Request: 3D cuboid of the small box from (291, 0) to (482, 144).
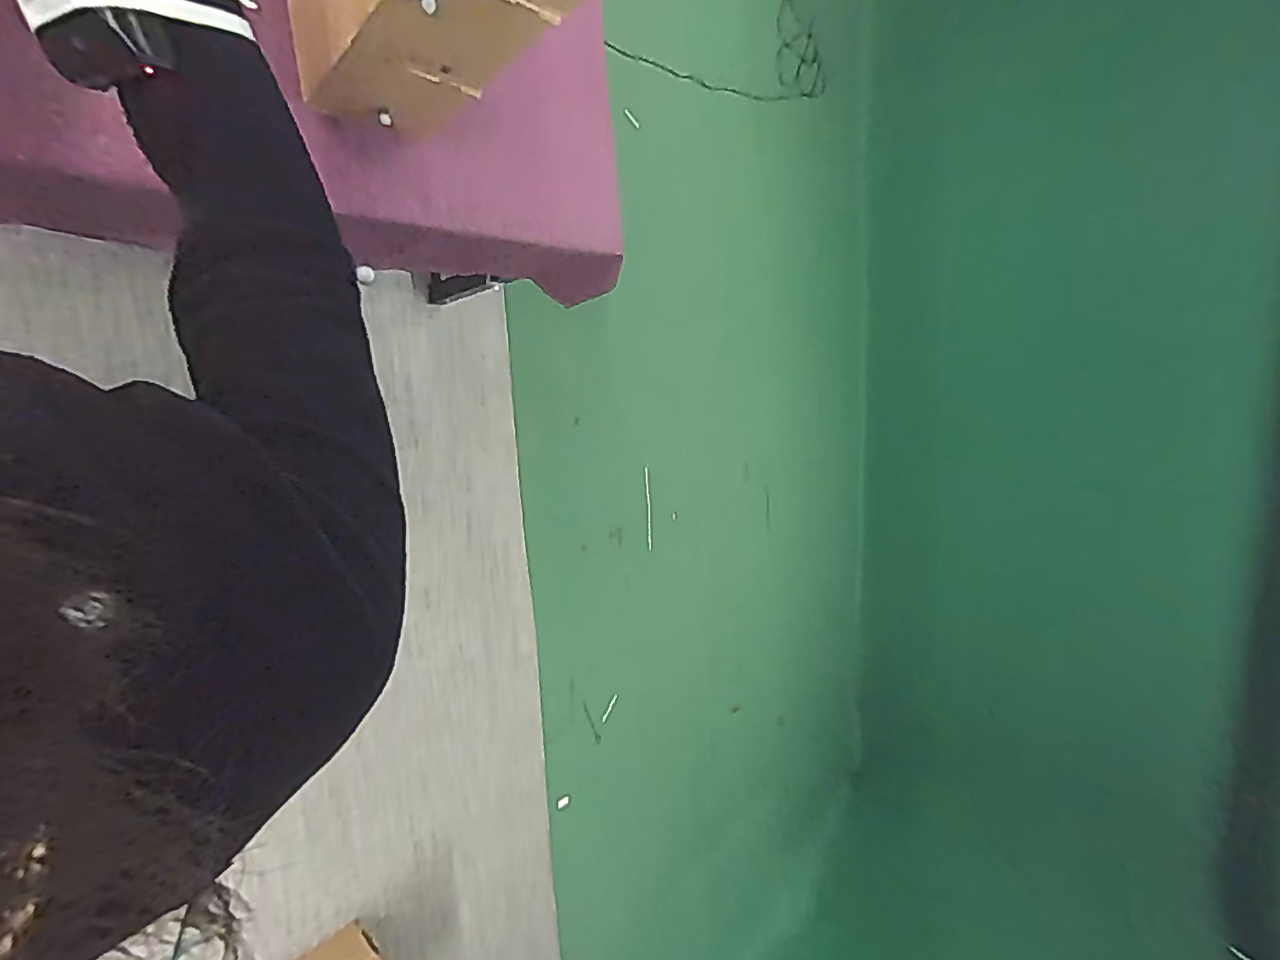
[{"bbox_3d":[-0.327,-0.574,0.694,0.168,0.176,0.179,-13,102,-46],"label":"small box"}]
